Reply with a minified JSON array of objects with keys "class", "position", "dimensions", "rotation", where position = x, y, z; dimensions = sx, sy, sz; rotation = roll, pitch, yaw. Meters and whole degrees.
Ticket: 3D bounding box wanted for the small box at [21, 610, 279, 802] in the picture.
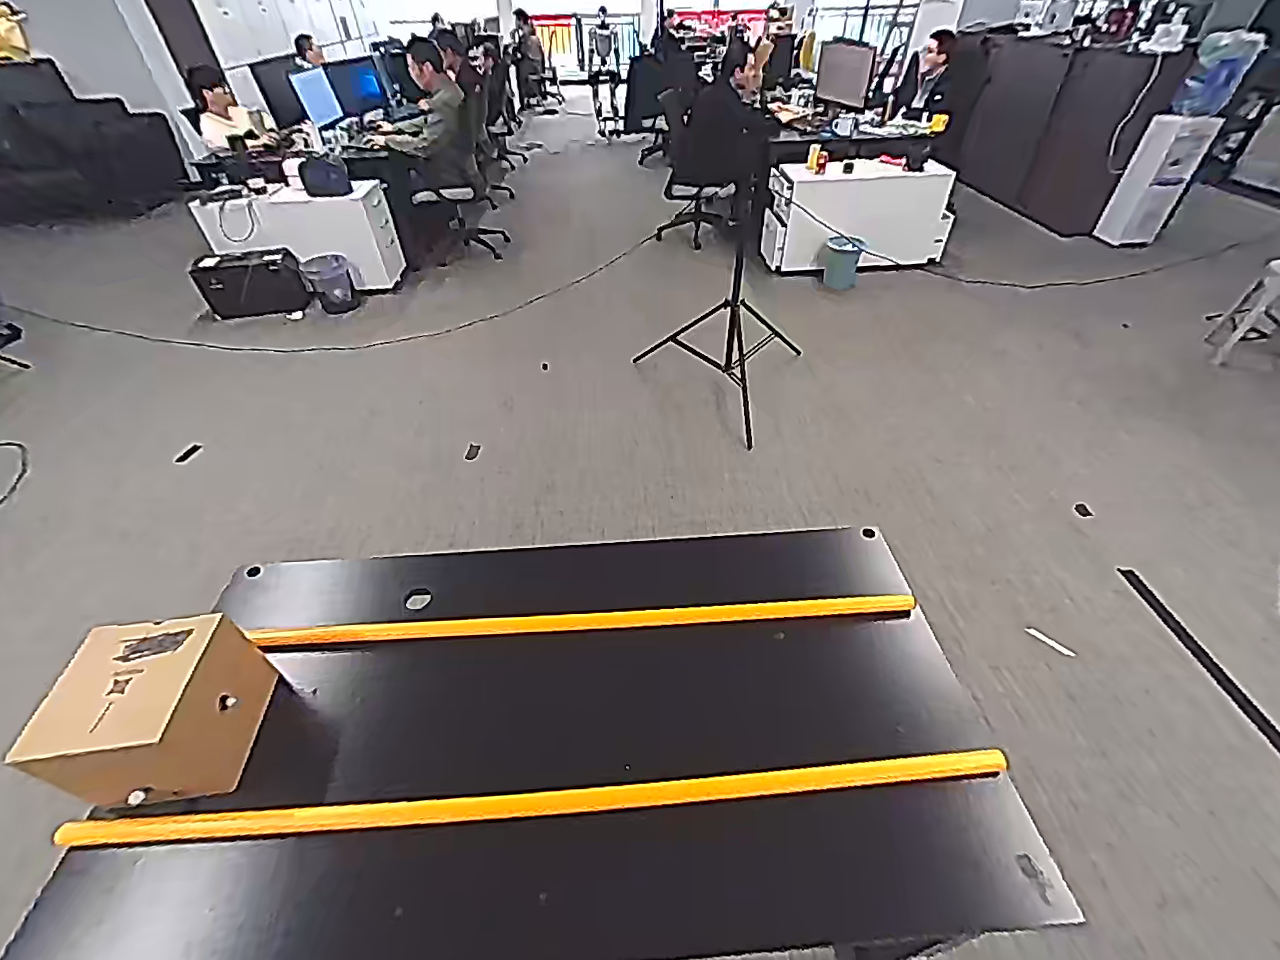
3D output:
[{"class":"small box","position":[-0.627,0.303,0.729],"dimensions":[0.168,0.176,0.179],"rotation":[-6,44,-5]}]
